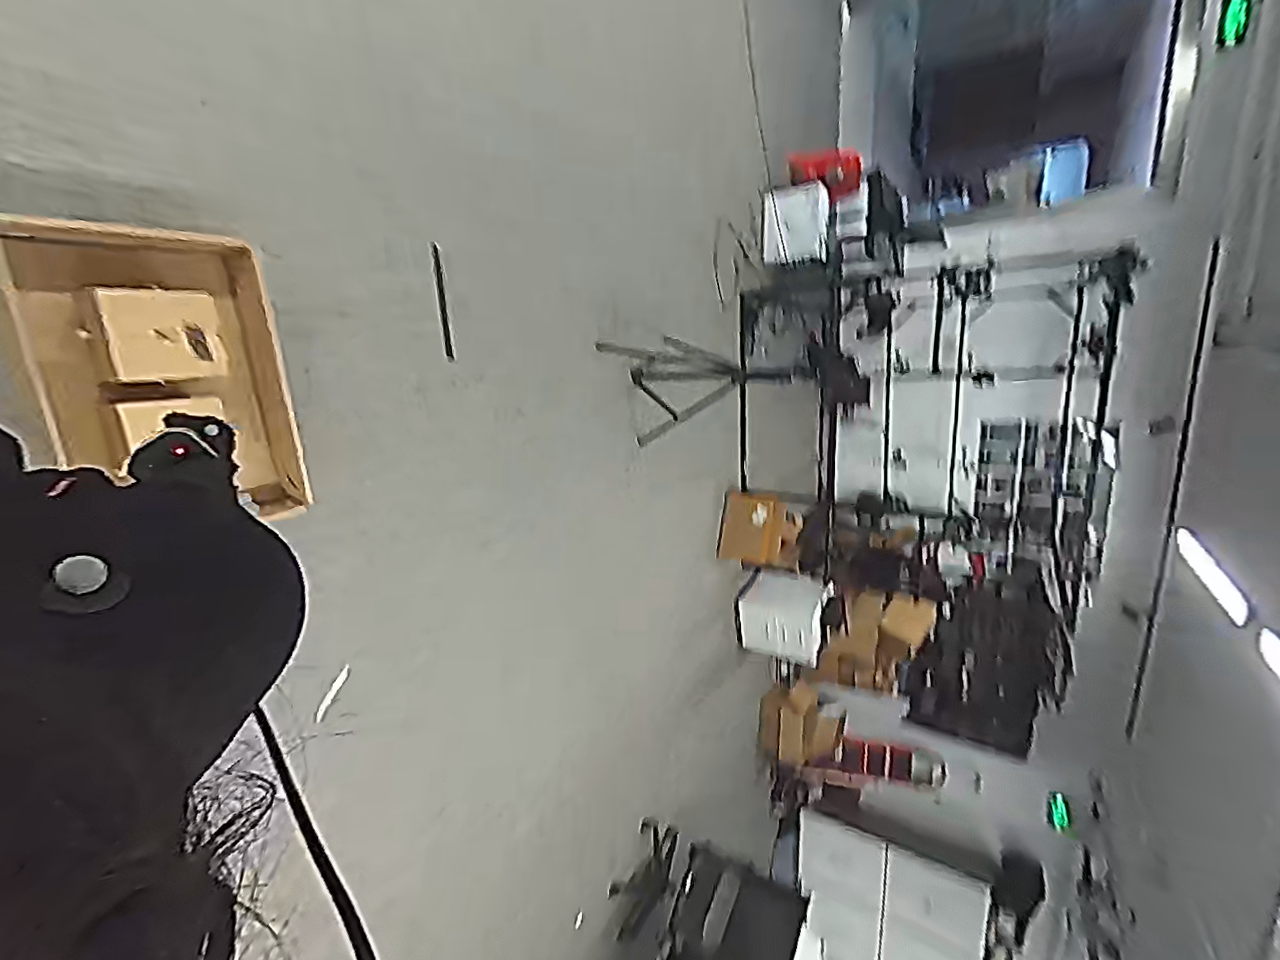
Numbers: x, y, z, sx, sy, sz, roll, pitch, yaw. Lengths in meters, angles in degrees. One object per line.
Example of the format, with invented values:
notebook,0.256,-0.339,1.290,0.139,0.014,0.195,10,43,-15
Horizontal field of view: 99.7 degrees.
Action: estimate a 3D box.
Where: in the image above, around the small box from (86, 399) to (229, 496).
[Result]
small box,-0.994,-0.074,1.117,0.168,0.176,0.179,-22,111,-55
